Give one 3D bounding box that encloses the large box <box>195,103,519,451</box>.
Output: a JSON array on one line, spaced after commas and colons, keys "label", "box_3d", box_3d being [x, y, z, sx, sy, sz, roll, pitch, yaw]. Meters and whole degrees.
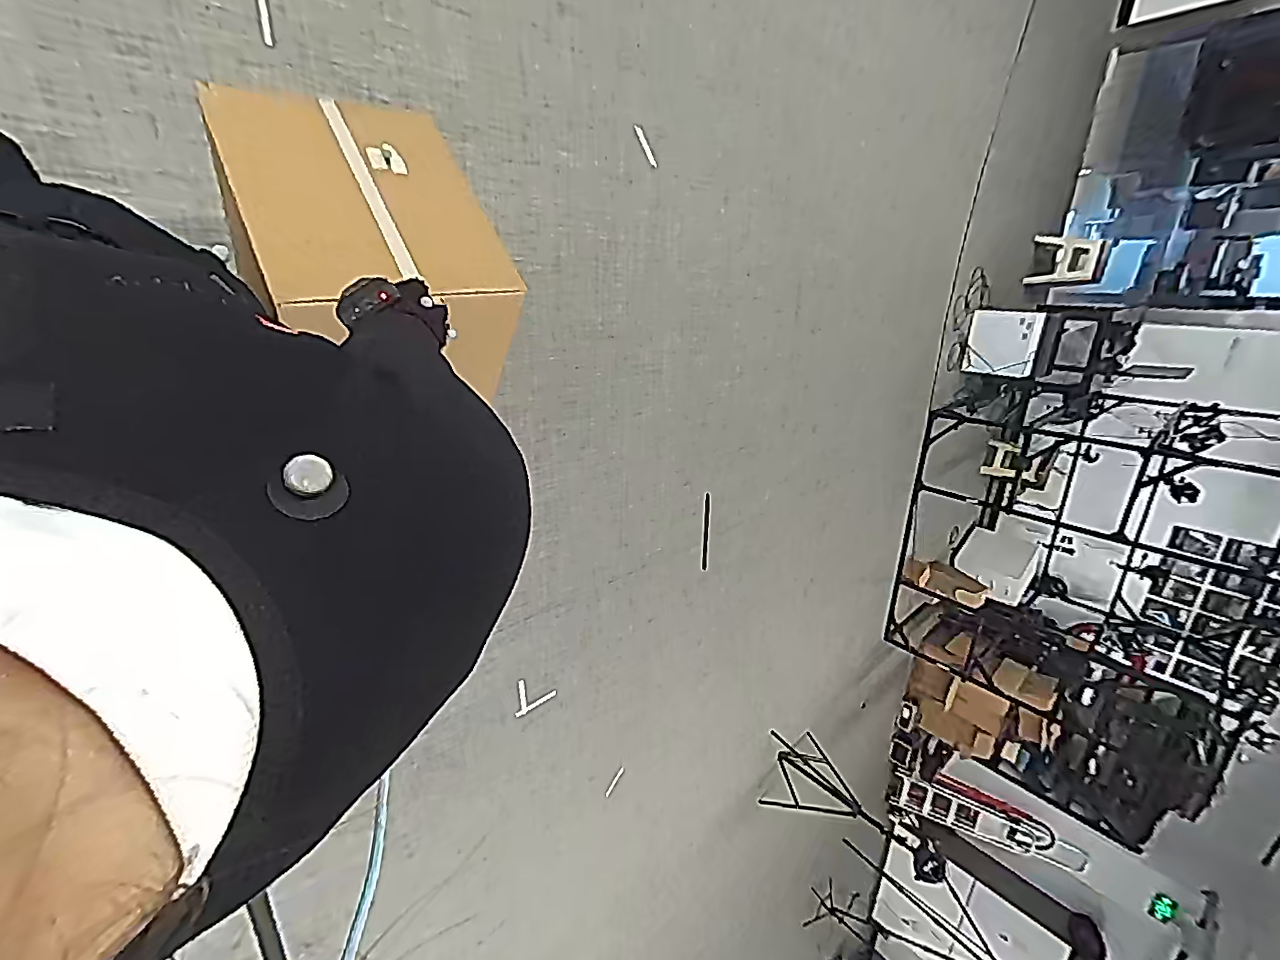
[{"label": "large box", "box_3d": [-0.448, -0.317, 0.877, 0.320, 0.408, 0.320, -18, 157, -36]}]
